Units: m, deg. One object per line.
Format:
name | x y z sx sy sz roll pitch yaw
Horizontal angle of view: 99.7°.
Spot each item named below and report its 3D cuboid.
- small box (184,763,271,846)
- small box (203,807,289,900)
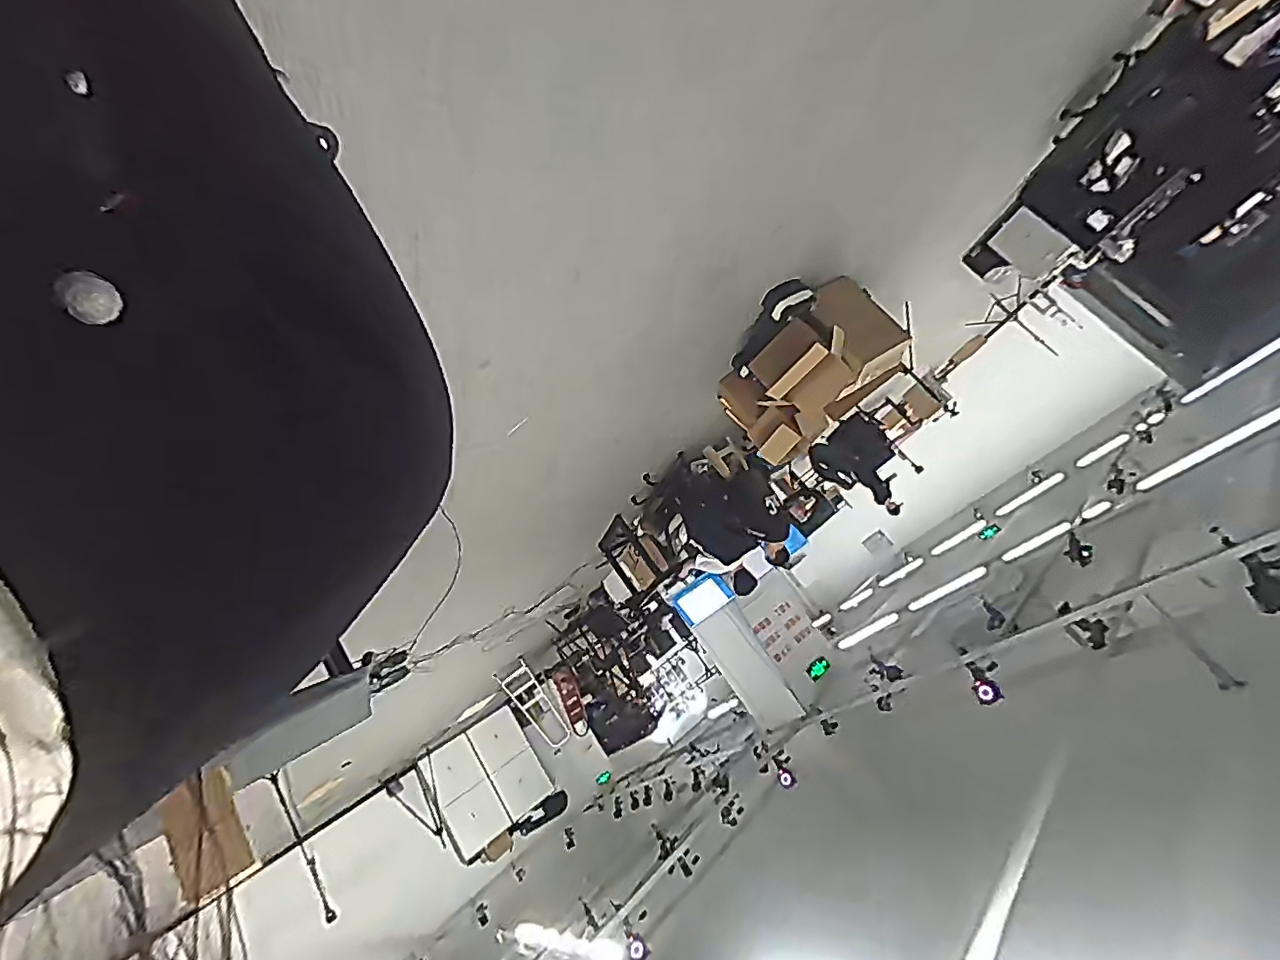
small box | -1.348 1.064 1.773 0.179 0.176 0.168 -22 156 -37
small box | -1.253 1.186 1.718 0.179 0.176 0.168 -24 158 -38
